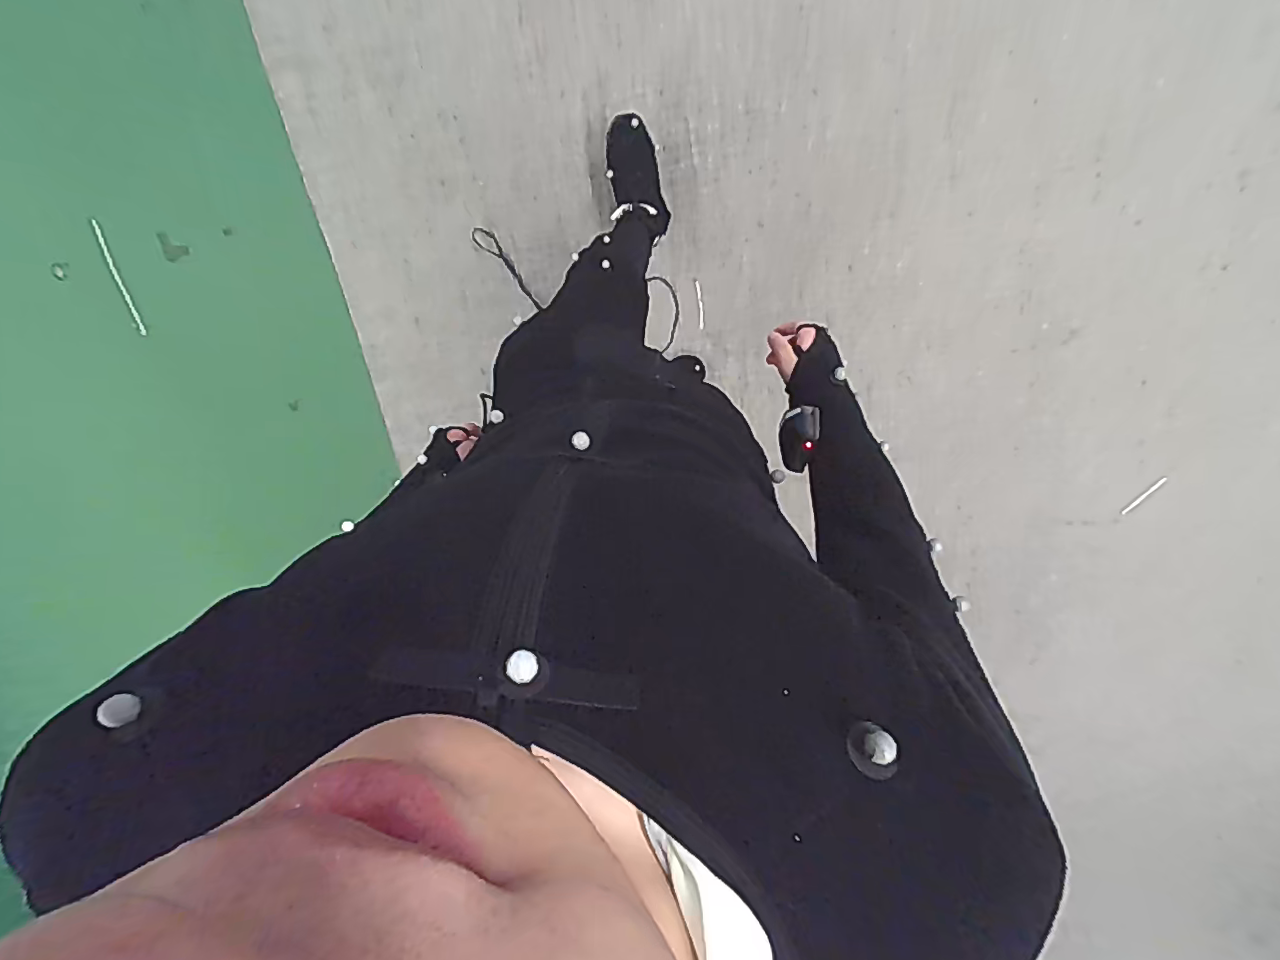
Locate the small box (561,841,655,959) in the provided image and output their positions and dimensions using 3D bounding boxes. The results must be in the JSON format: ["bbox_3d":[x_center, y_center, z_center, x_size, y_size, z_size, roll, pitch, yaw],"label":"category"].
[{"bbox_3d":[-0.060,0.924,1.174,0.168,0.176,0.179,-6,110,7],"label":"small box"}]
